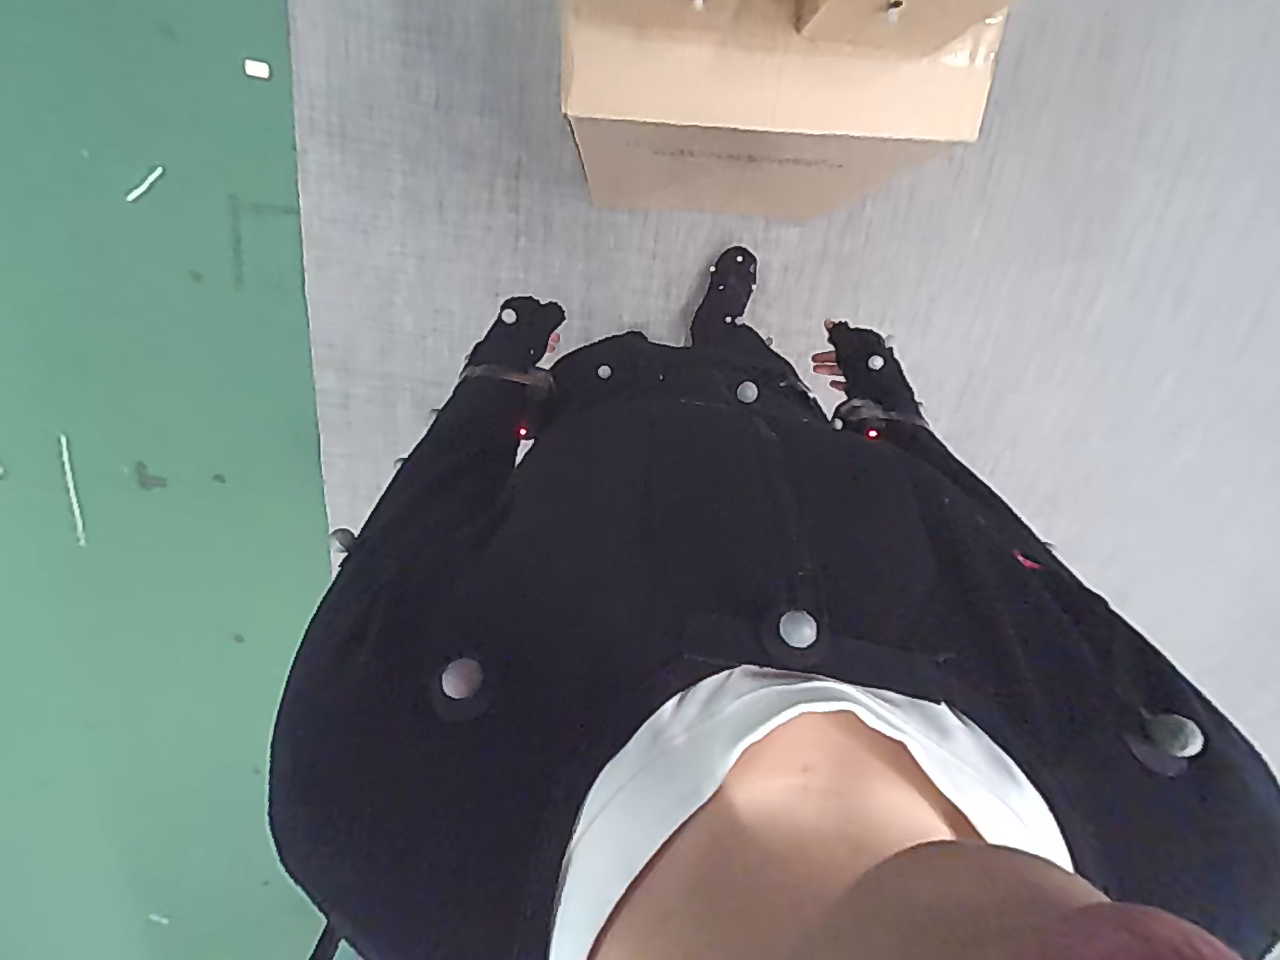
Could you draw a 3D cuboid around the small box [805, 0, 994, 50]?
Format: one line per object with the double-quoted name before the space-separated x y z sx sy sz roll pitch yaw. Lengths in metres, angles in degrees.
"small box" 0.286 -0.574 0.554 0.179 0.176 0.168 4 112 -2
